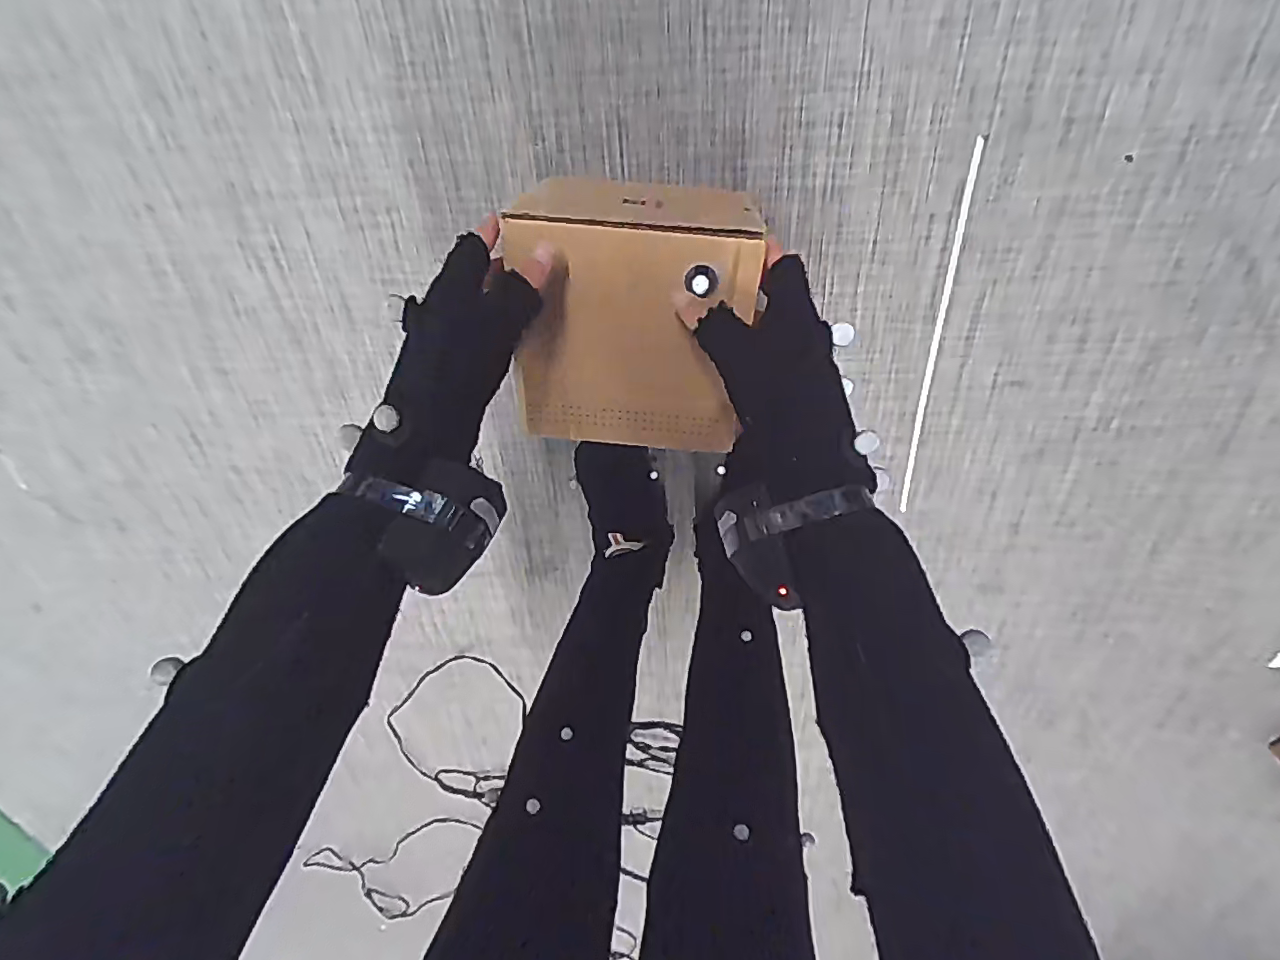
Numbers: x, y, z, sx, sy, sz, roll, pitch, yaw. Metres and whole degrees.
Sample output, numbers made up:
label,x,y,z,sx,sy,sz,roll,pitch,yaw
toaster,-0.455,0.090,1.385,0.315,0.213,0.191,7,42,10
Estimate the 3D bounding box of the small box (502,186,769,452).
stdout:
label,x,y,z,sx,sy,sz,roll,pitch,yaw
small box,-0.003,-0.138,0.454,0.179,0.168,0.176,5,126,0
